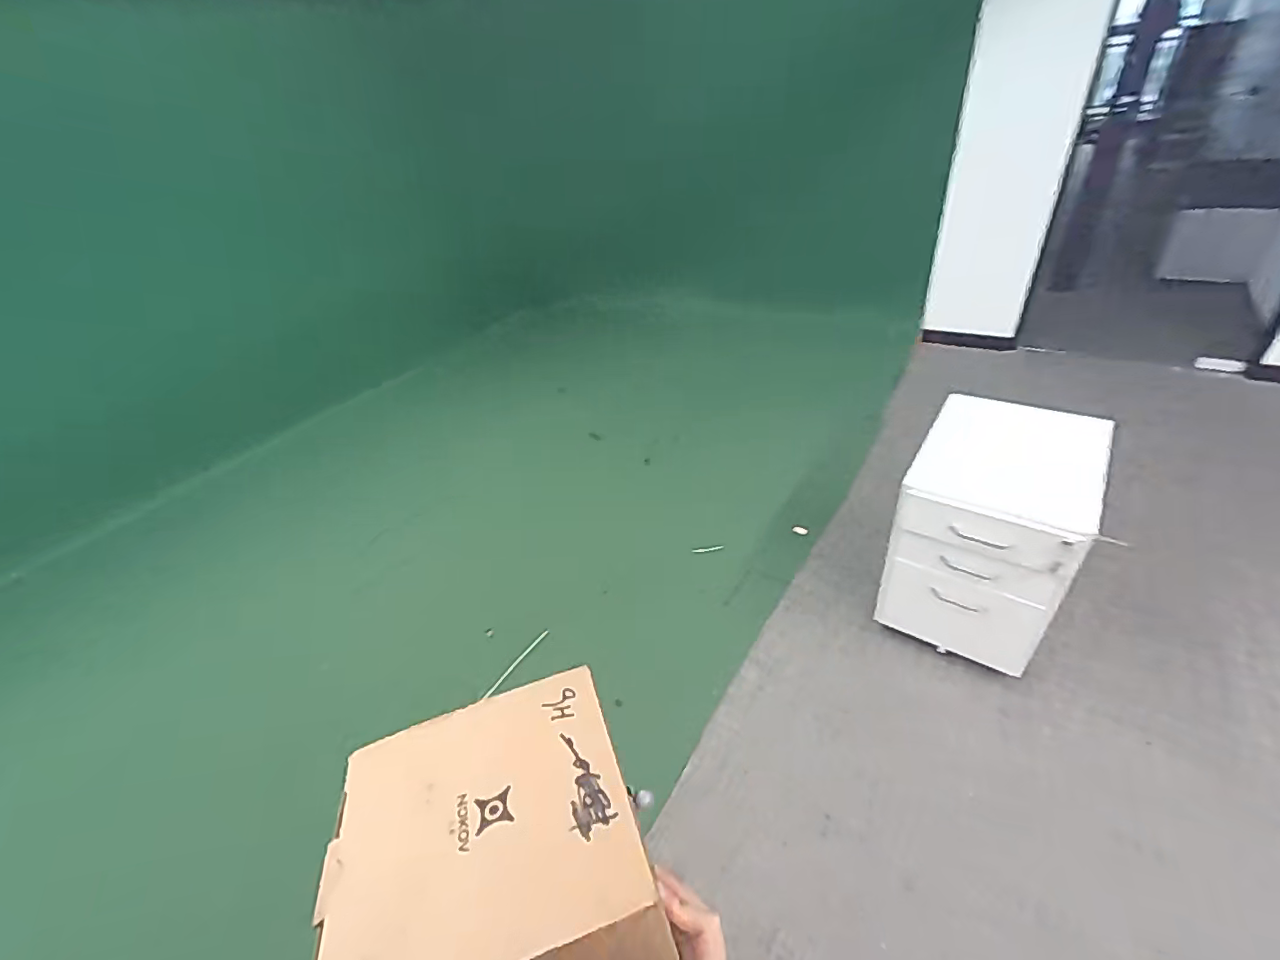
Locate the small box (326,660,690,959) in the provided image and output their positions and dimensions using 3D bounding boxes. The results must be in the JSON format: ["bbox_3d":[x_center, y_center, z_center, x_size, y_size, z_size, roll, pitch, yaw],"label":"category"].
[{"bbox_3d":[-0.079,0.266,0.371,0.179,0.176,0.168,-17,32,-10],"label":"small box"}]
